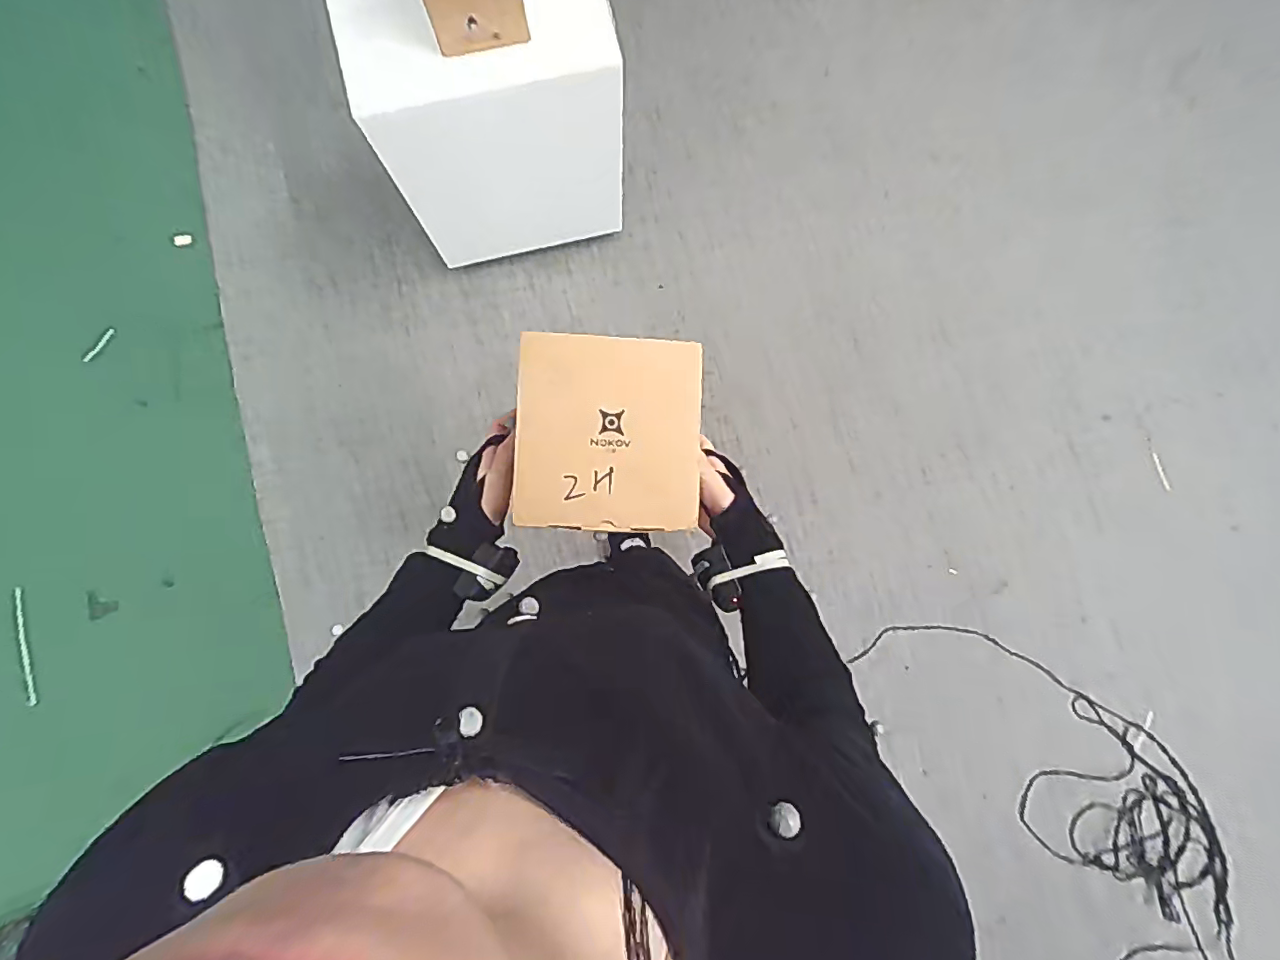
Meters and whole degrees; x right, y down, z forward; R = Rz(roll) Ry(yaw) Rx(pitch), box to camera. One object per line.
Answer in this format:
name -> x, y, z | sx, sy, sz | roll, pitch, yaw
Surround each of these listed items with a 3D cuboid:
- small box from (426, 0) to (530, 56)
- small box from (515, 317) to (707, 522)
small box -> -0.296, -0.884, 0.923 | 0.168, 0.176, 0.179 | -14, 85, -4
small box -> -0.032, -0.047, 0.552 | 0.168, 0.176, 0.179 | 2, 87, -6
